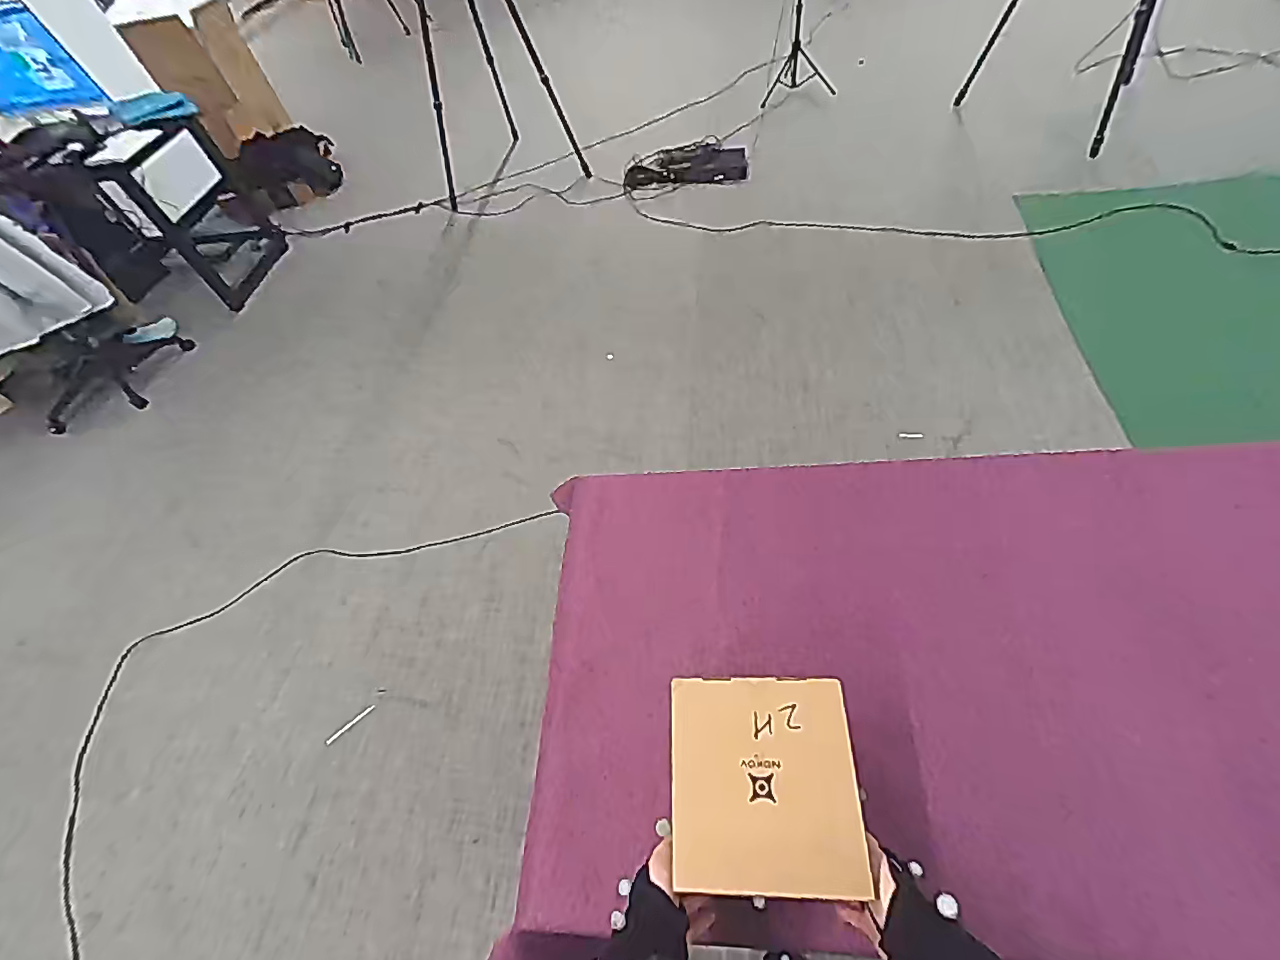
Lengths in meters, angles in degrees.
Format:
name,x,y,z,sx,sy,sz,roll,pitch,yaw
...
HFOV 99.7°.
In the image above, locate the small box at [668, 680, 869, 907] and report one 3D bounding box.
name,x,y,z,sx,sy,sz,roll,pitch,yaw
small box,0.120,0.315,0.555,0.168,0.176,0.179,-3,56,7
